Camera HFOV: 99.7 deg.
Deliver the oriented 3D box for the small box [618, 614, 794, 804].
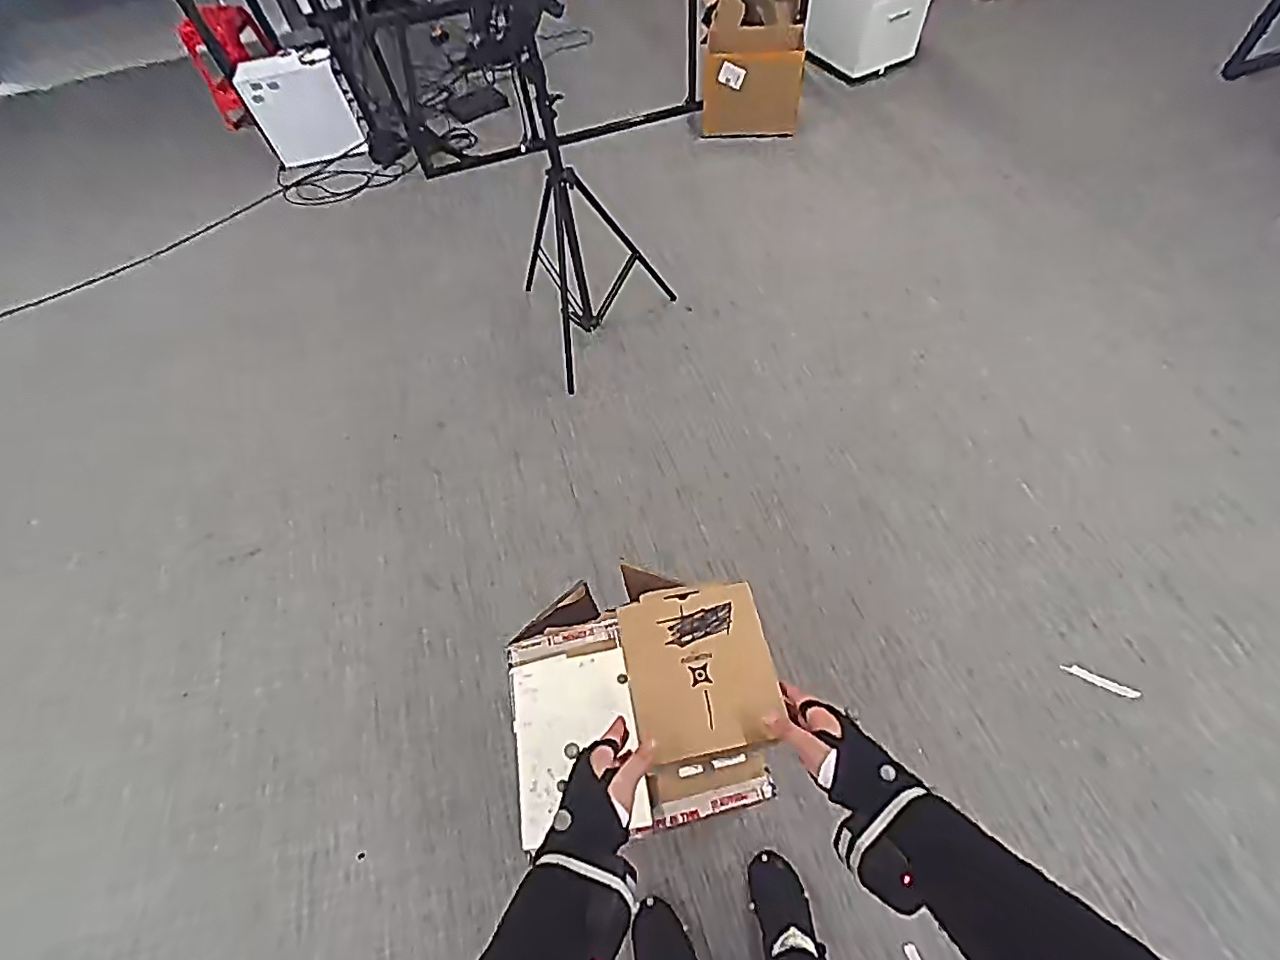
[{"bbox_3d":[0.067,0.286,0.665,0.168,0.176,0.179,-10,60,-4],"label":"small box"}]
